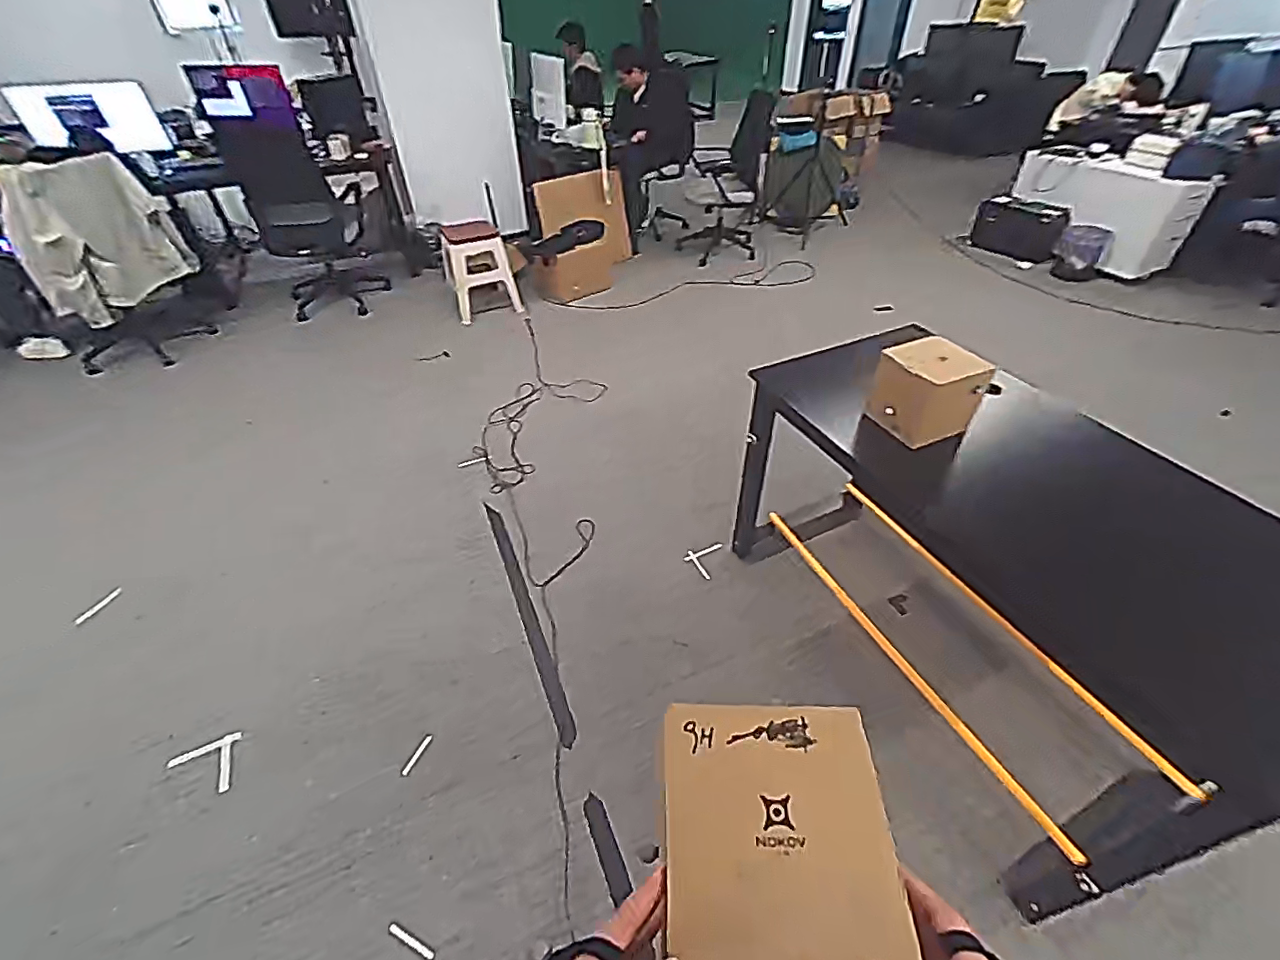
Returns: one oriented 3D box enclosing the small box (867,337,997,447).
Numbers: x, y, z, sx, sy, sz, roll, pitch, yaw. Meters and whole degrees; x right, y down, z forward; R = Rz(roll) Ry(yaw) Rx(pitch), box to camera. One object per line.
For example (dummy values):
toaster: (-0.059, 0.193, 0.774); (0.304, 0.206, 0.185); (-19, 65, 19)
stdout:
small box: (0.654, -0.200, 1.234); (0.179, 0.176, 0.168); (-17, 44, -17)

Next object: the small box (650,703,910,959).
small box: (0.095, 0.307, 0.460); (0.168, 0.176, 0.179); (1, 49, -1)
